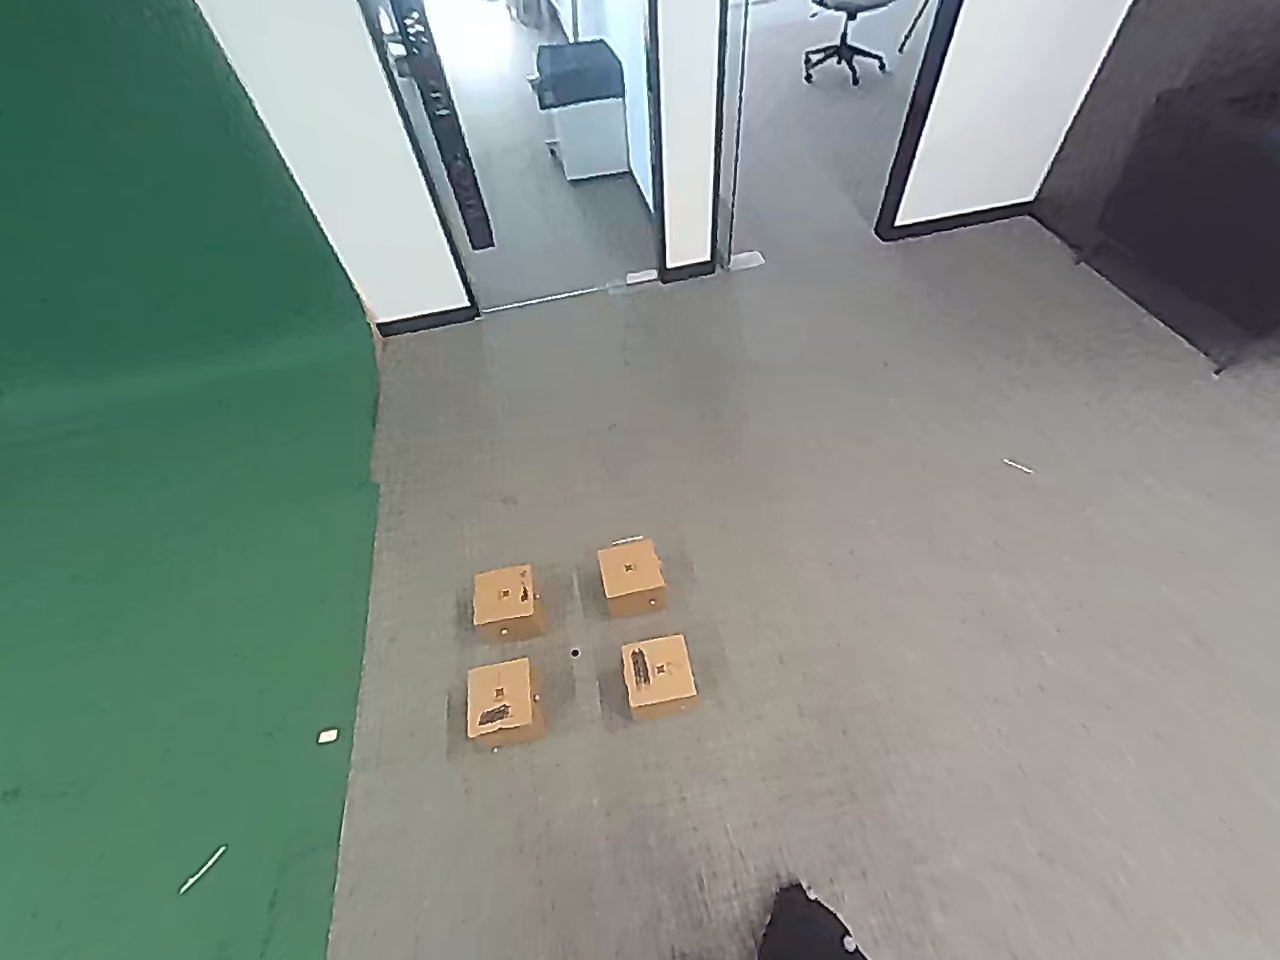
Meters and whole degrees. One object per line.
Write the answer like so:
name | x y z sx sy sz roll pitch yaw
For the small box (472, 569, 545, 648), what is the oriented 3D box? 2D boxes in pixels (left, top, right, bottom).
small box | -0.393 0.393 1.635 0.179 0.176 0.168 -10 52 -2

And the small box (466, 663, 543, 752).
small box | -0.361 0.618 1.456 0.168 0.176 0.179 -10 51 -4

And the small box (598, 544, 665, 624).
small box | -0.023 0.322 1.660 0.179 0.176 0.168 -12 51 -4
